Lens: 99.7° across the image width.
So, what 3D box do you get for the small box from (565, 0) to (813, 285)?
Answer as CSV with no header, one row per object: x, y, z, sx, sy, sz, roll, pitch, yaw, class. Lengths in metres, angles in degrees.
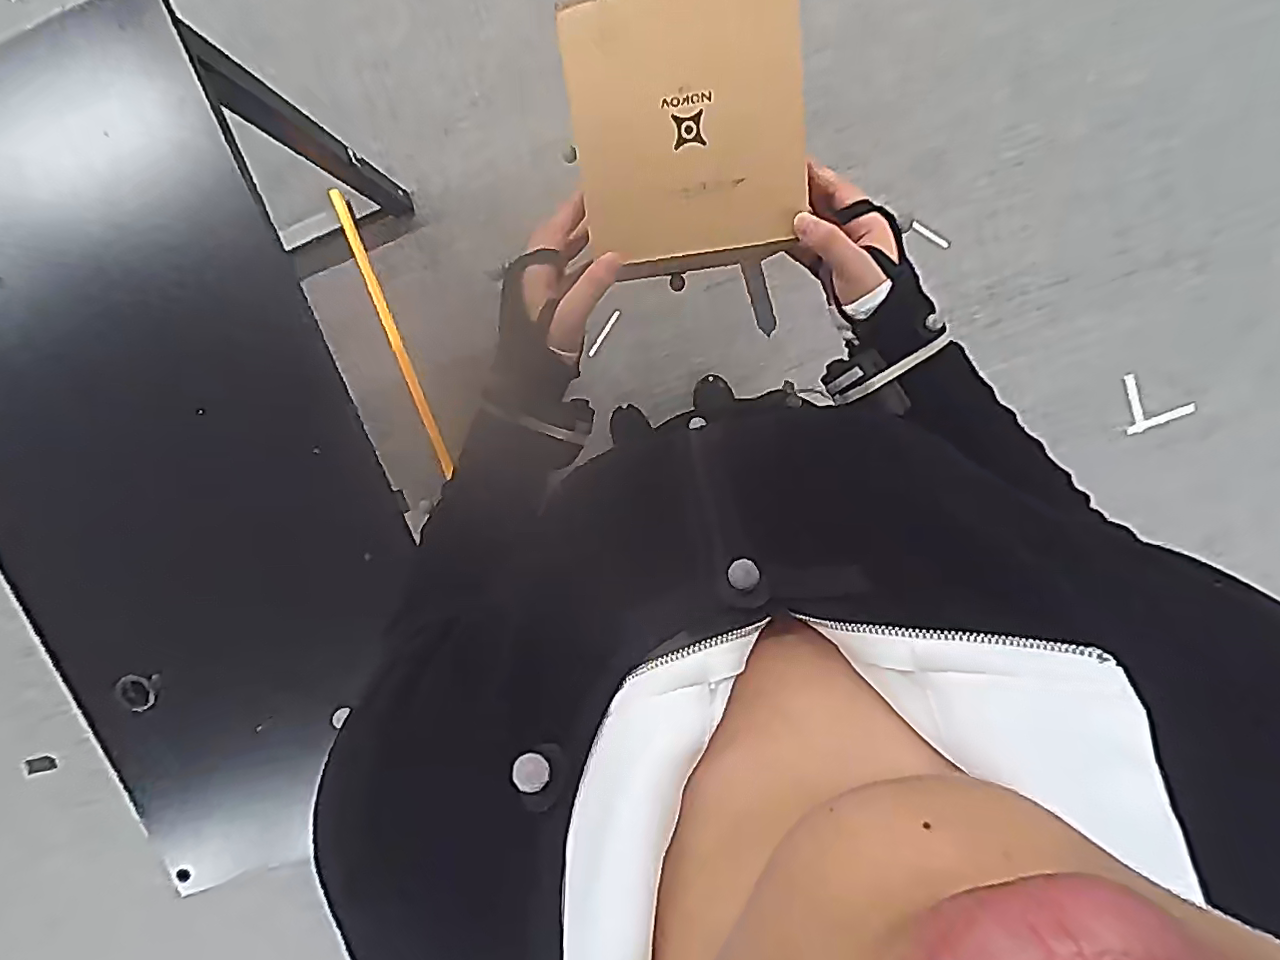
0.038,-0.273,0.461,0.168,0.176,0.179,-7,107,3,small box
